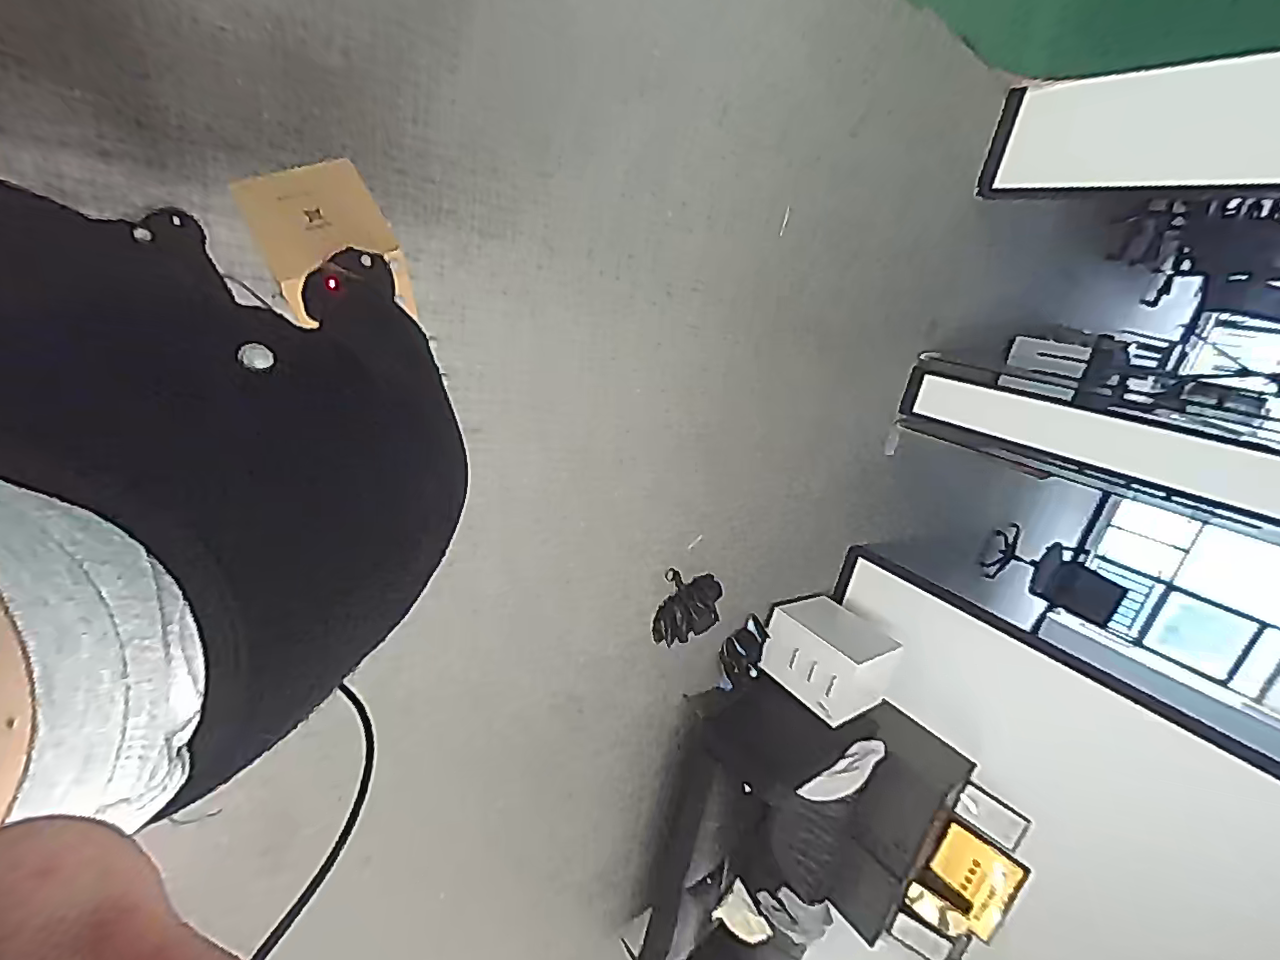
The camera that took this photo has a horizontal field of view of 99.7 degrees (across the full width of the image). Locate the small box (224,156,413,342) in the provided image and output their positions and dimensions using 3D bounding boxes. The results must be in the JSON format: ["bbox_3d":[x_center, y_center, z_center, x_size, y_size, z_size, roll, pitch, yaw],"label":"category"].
[{"bbox_3d":[-0.457,-0.329,0.800,0.168,0.179,0.176,-29,170,-23],"label":"small box"}]
